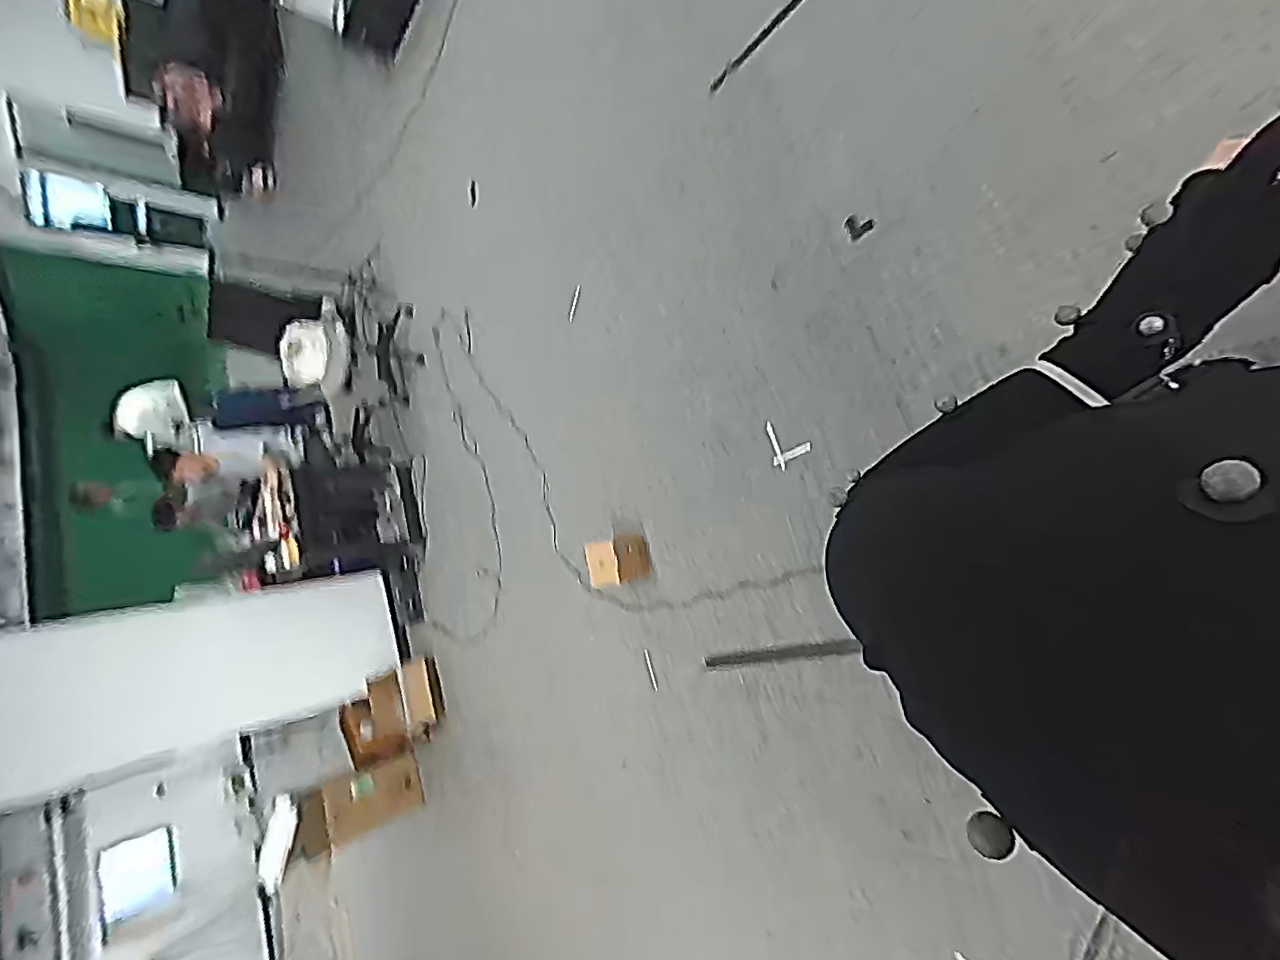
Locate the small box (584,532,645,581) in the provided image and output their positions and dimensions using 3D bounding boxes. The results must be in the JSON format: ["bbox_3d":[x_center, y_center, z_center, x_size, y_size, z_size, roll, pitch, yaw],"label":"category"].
[{"bbox_3d":[-0.096,0.308,2.183,0.179,0.176,0.168,-17,81,45],"label":"small box"}]
